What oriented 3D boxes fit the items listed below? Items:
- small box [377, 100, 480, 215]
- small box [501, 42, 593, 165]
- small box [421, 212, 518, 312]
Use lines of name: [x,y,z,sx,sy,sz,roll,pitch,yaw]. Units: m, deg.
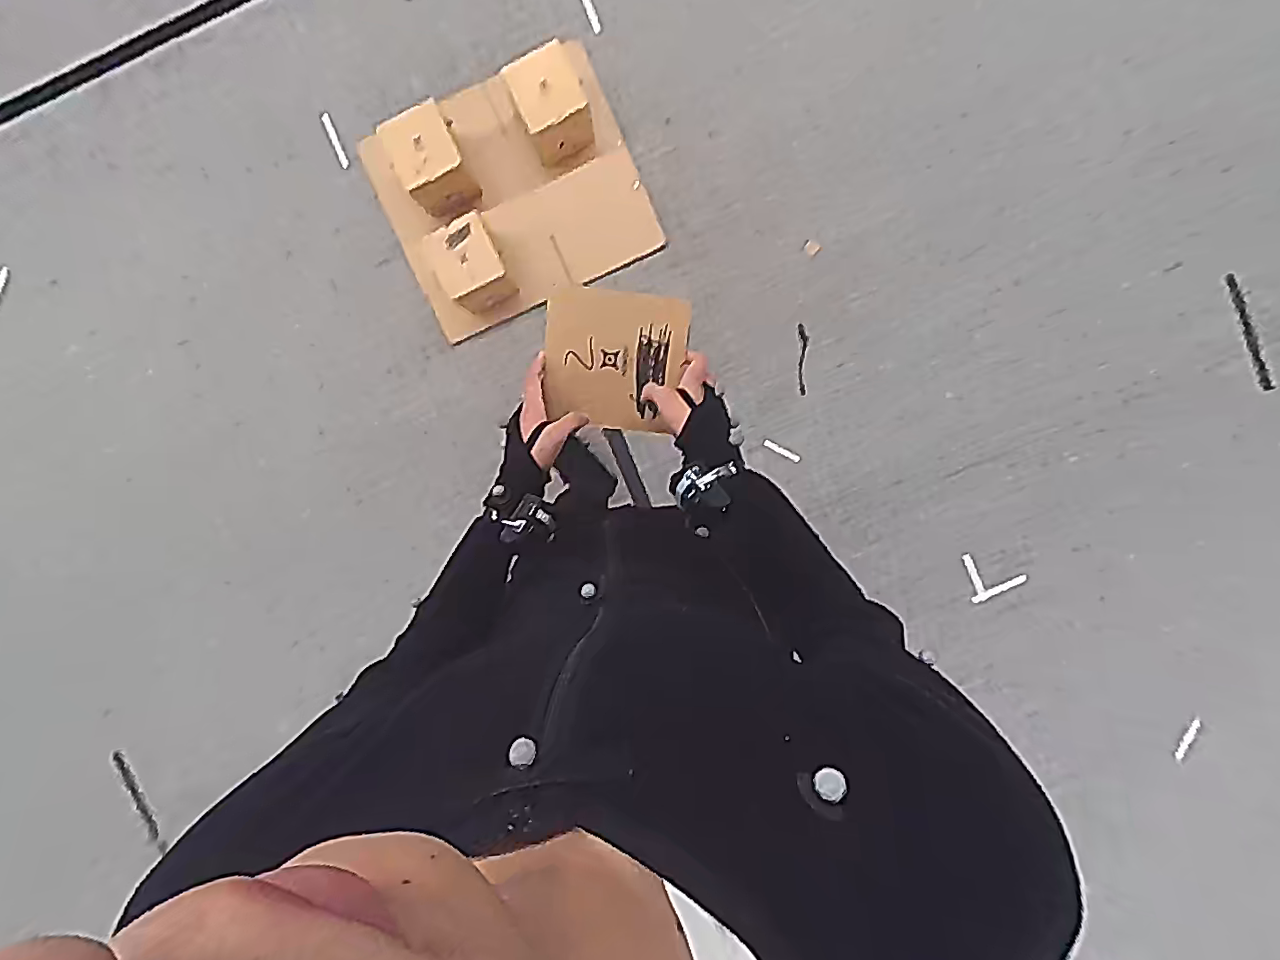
small box: [-0.554,-0.848,1.439,0.168,0.176,0.179,-24,95,3]
small box: [-0.239,-0.986,1.432,0.168,0.176,0.179,-28,95,3]
small box: [-0.454,-0.582,1.466,0.168,0.176,0.179,-25,96,3]
